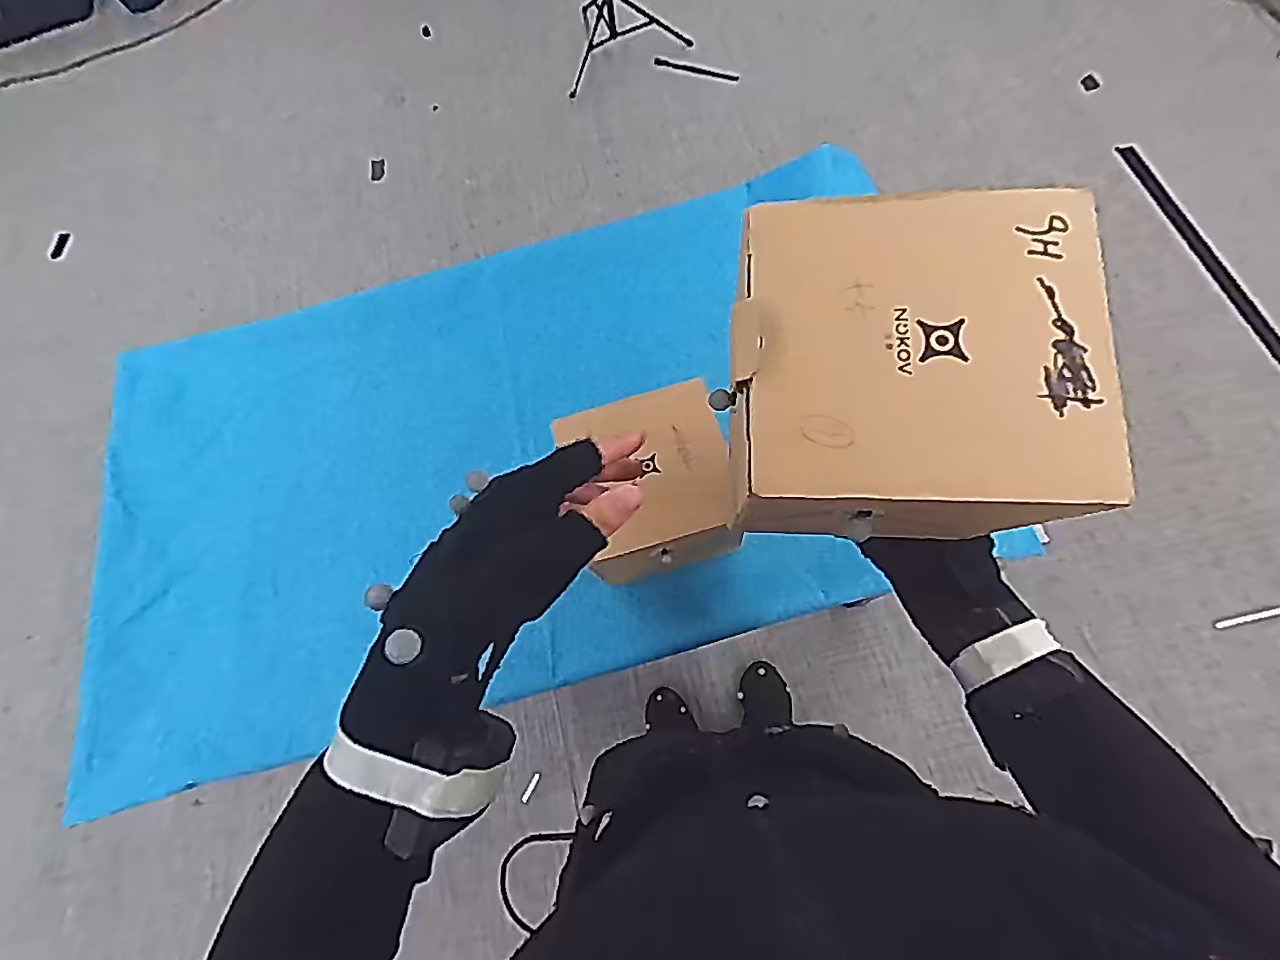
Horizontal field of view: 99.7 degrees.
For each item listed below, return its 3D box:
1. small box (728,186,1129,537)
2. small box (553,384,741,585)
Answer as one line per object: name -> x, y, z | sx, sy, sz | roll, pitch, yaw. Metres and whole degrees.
small box -> 0.147, -0.053, 0.350 | 0.179, 0.176, 0.168 | -2, 79, 7
small box -> 0.016, 0.017, 0.638 | 0.179, 0.176, 0.168 | -16, 71, 2
